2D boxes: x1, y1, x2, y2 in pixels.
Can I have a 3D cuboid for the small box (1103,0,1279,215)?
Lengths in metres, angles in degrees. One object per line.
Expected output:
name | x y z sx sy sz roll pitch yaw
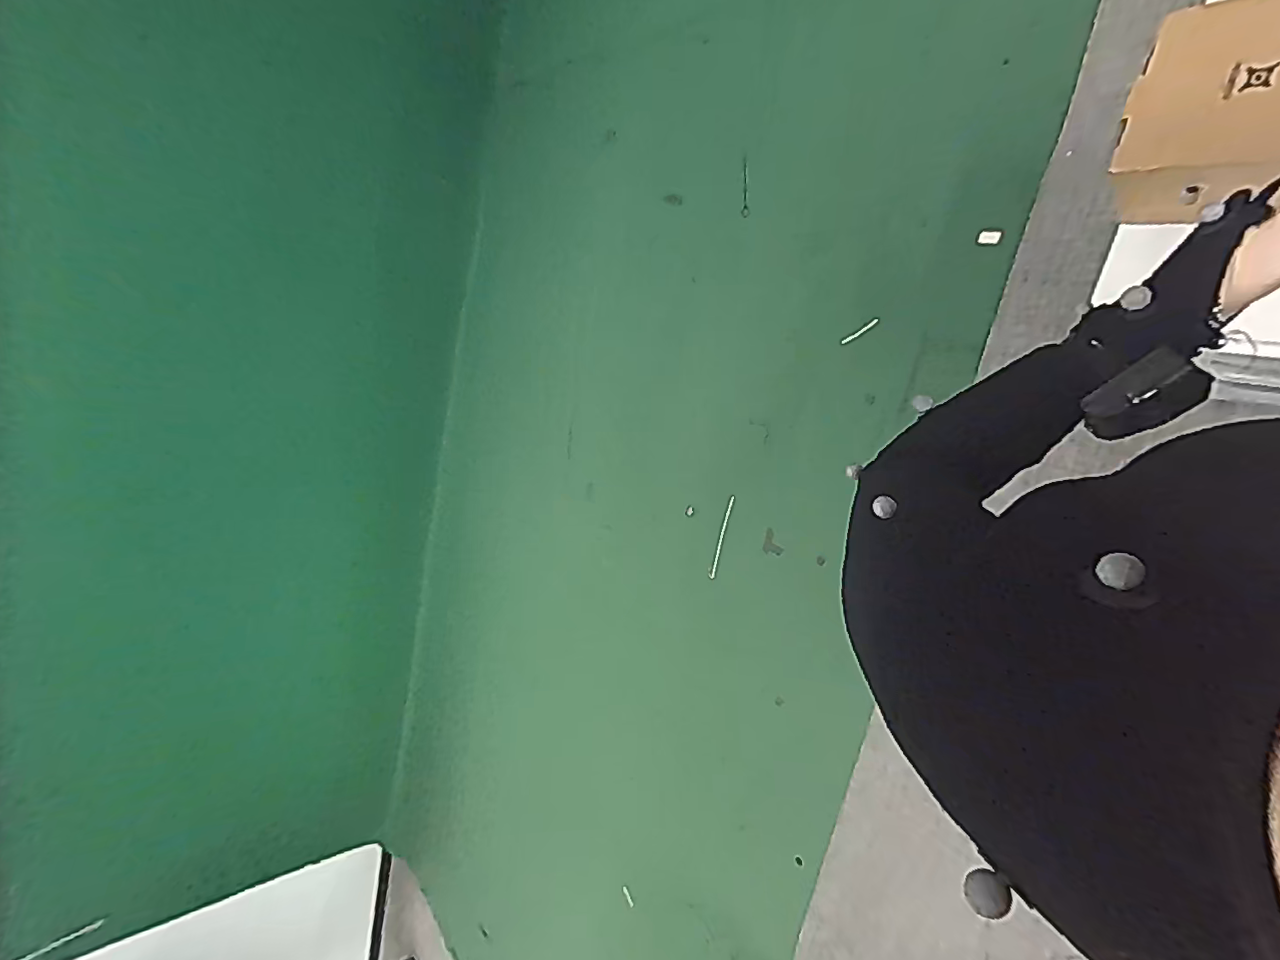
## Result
small box | 0.661 -0.408 0.597 0.179 0.176 0.168 24 106 44
